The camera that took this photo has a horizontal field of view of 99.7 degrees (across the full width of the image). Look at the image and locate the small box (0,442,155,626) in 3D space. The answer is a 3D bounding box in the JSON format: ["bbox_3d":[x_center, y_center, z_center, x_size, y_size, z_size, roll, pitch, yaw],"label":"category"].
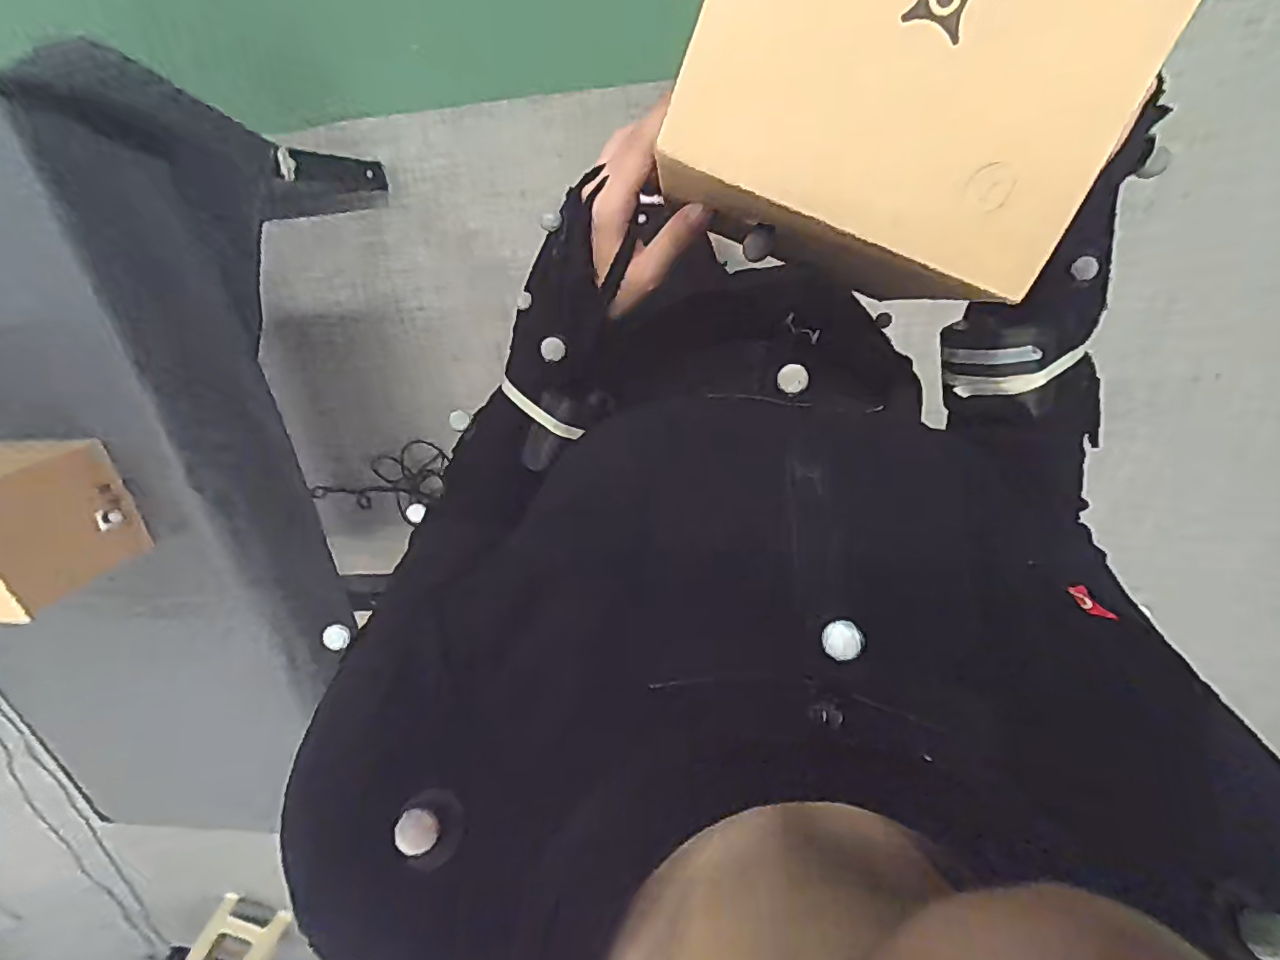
[{"bbox_3d":[-0.779,0.059,0.671,0.179,0.176,0.168,-1,117,8],"label":"small box"}]

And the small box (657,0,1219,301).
[{"bbox_3d":[0.120,-0.200,0.263,0.168,0.176,0.179,22,108,-2],"label":"small box"}]
